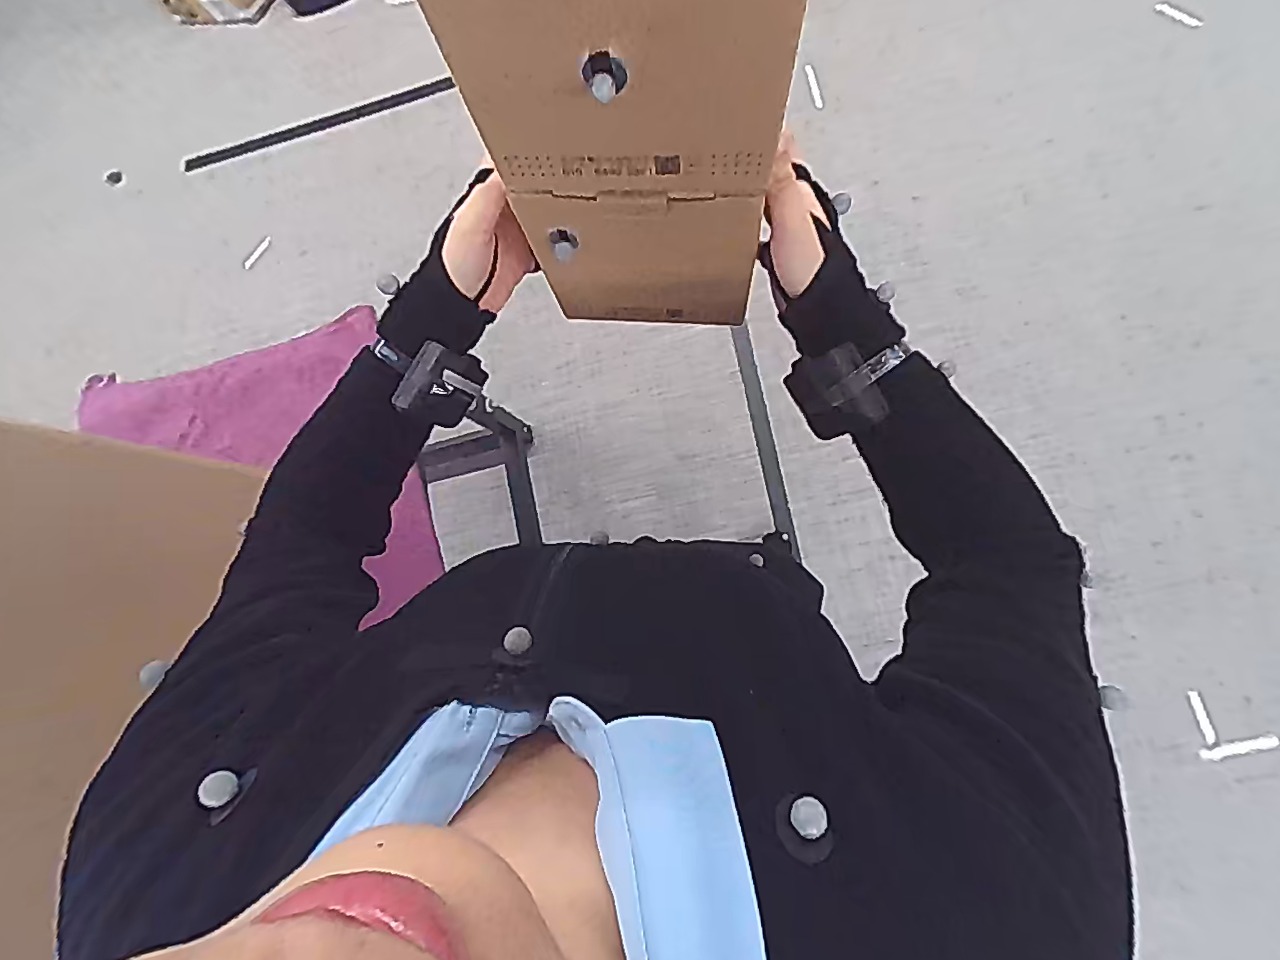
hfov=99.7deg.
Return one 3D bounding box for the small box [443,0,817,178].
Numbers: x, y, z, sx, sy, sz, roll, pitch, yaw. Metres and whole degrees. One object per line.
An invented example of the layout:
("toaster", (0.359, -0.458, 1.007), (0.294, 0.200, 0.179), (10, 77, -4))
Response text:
("small box", (0.003, -0.278, 0.263), (0.168, 0.176, 0.179), (4, 79, 6))
